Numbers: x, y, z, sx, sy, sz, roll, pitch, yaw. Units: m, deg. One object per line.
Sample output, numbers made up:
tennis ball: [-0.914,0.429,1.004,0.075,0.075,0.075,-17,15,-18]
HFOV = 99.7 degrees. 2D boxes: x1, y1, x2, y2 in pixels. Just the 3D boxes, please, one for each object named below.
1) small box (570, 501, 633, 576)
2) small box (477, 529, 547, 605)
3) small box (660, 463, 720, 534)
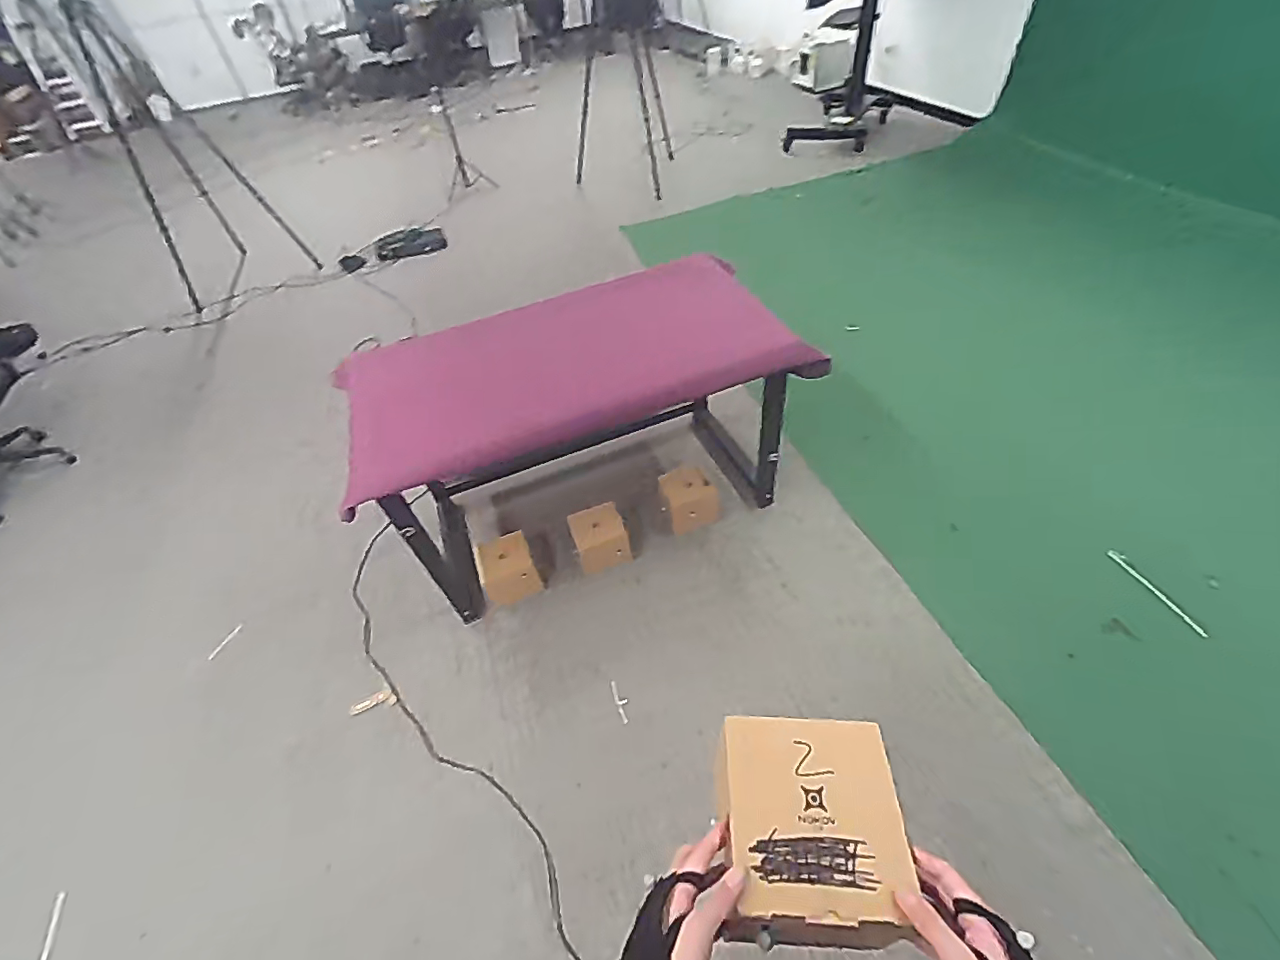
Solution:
small box: [-0.131,0.207,1.904,0.179,0.176,0.168,-19,48,-8]
small box: [-0.439,0.305,1.862,0.179,0.176,0.168,-20,49,-10]
small box: [0.186,0.071,1.977,0.179,0.176,0.168,-18,49,-7]
